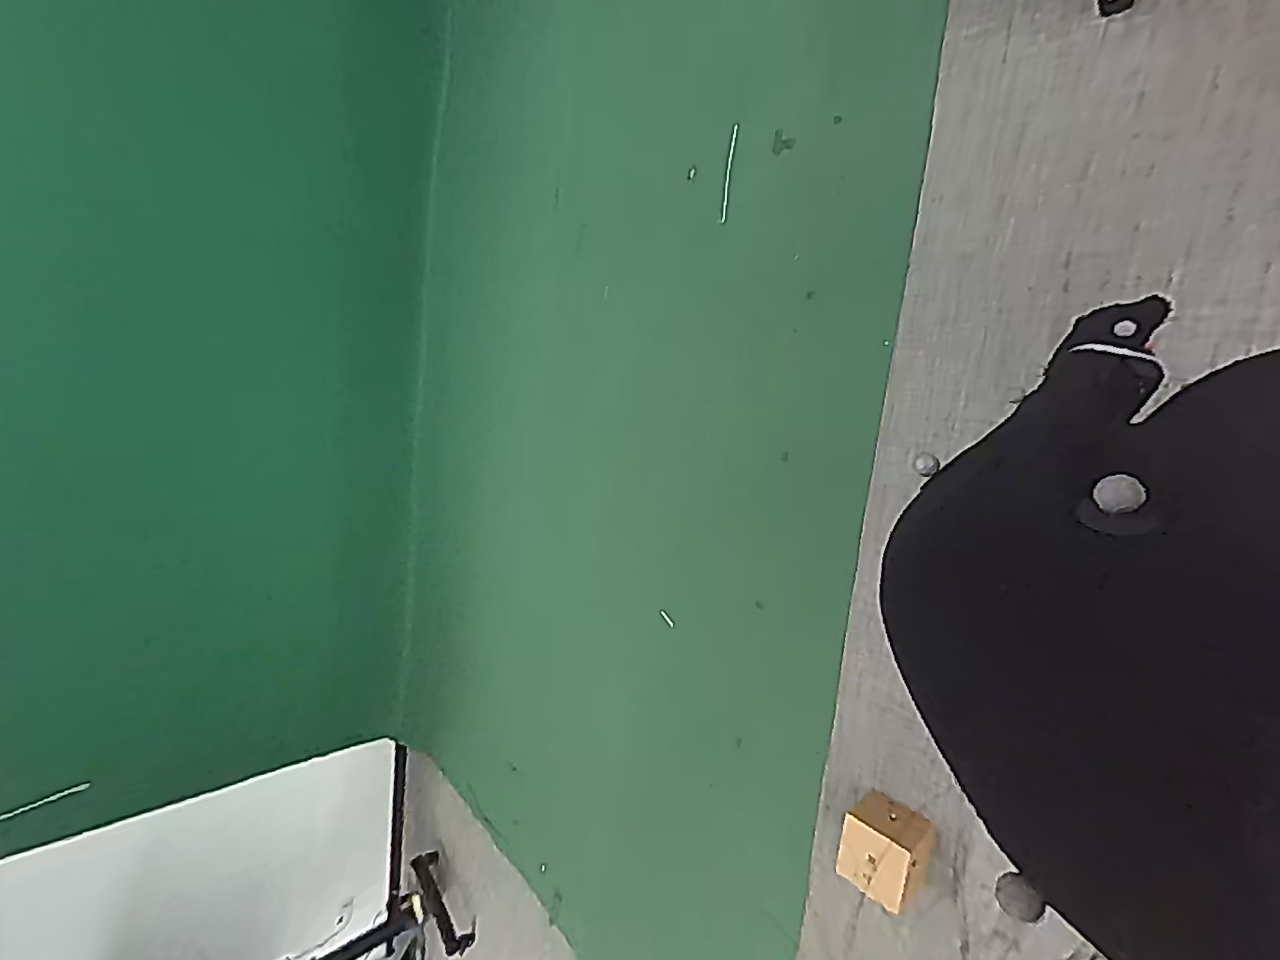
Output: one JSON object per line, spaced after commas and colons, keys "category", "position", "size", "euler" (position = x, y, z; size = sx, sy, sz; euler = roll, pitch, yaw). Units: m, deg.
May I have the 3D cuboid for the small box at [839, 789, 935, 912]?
{"category": "small box", "position": [0.648, 0.955, 1.415], "size": [0.168, 0.176, 0.179], "euler": [15, 101, 46]}
